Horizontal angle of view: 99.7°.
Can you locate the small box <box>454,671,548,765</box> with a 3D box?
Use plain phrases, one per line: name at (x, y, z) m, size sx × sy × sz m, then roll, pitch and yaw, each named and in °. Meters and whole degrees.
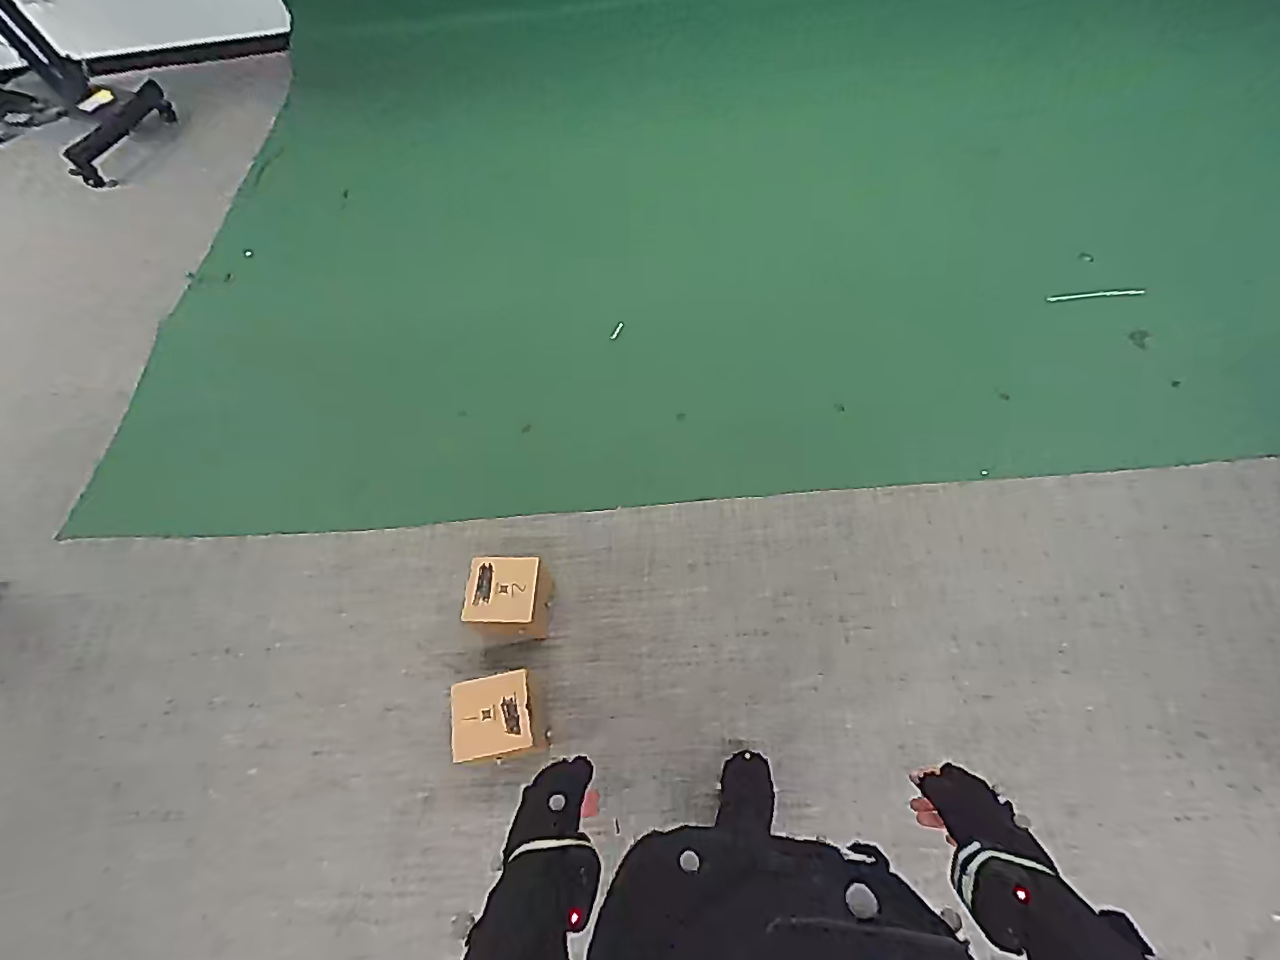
small box at (-0.317, 0.557, 1.259) m, size 0.179 × 0.176 × 0.168 m, roll -12°, pitch 60°, yaw -1°
